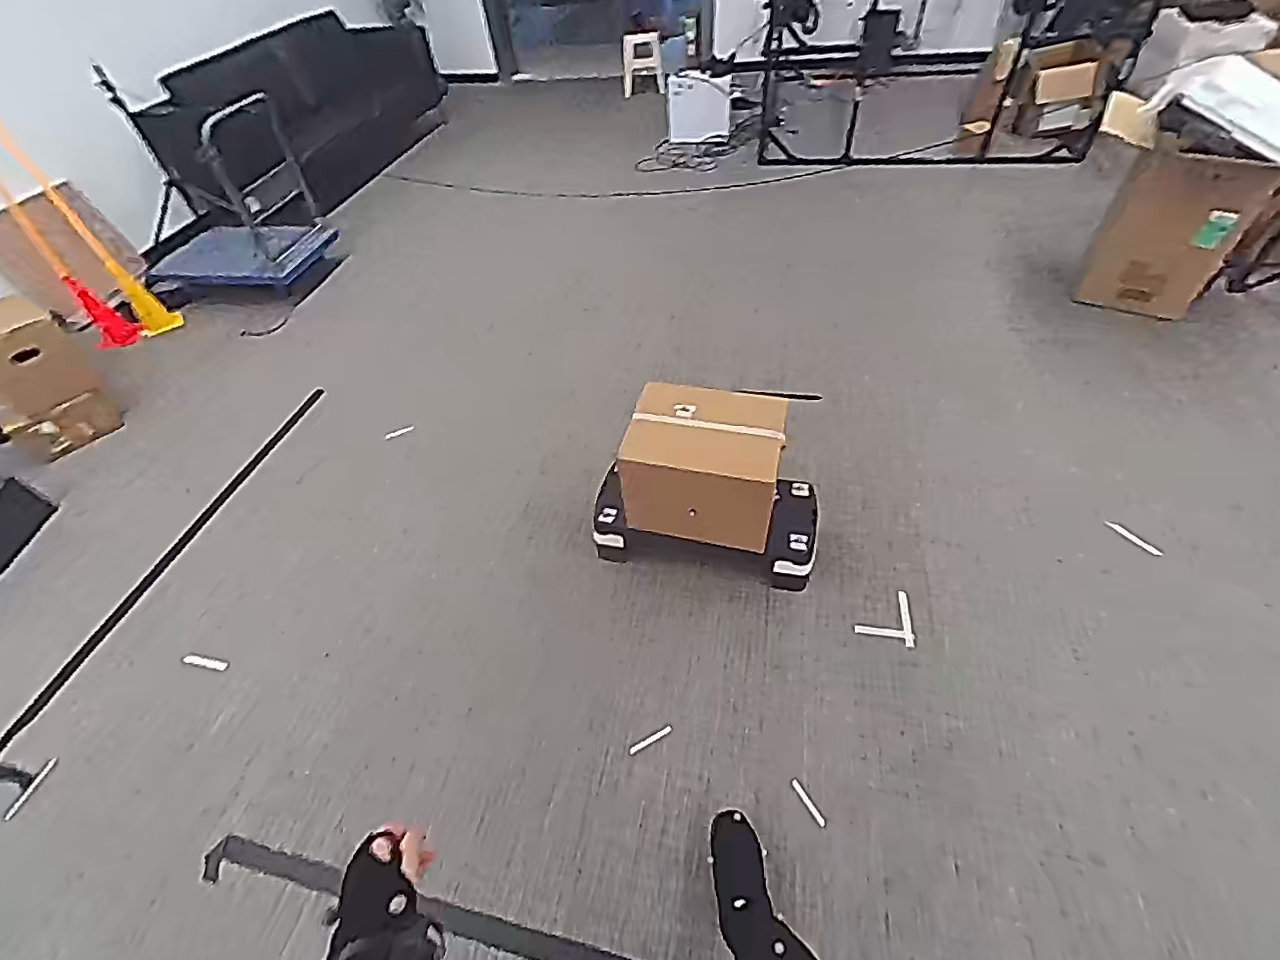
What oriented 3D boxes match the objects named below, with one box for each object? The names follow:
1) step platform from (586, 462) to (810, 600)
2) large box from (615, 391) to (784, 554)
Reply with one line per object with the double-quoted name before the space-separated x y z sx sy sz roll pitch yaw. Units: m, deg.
"step platform" 0.178 0.141 1.701 0.684 0.204 0.286 10 51 16
"large box" 0.180 -0.022 1.525 0.408 0.320 0.320 8 50 14
